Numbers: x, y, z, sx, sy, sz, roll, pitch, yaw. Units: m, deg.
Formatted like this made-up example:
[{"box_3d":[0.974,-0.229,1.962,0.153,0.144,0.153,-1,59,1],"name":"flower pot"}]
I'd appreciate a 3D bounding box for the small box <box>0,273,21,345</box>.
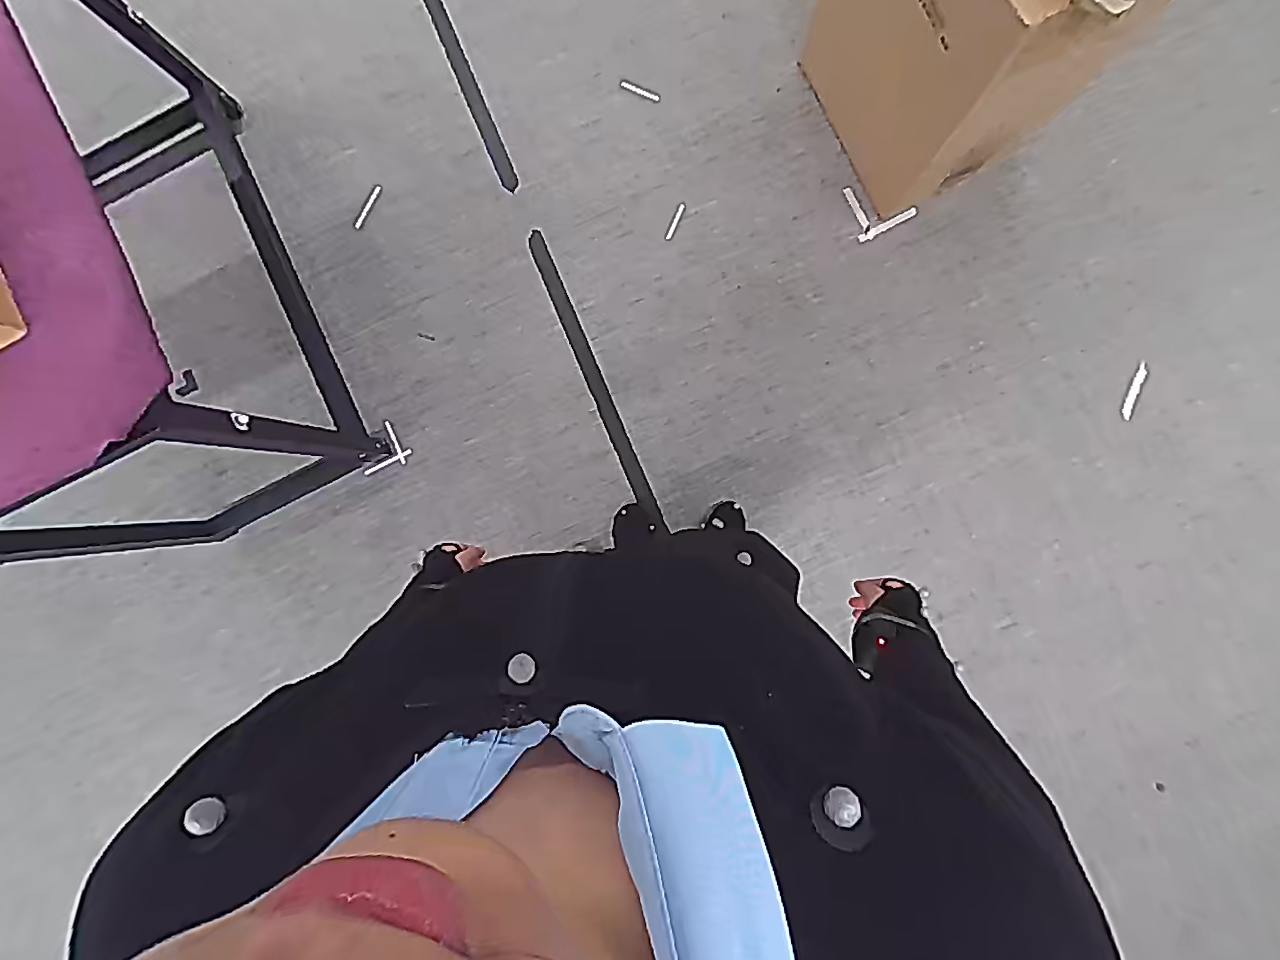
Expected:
[{"box_3d":[-1.073,-0.271,0.775,0.168,0.176,0.179,-28,86,2],"name":"small box"}]
